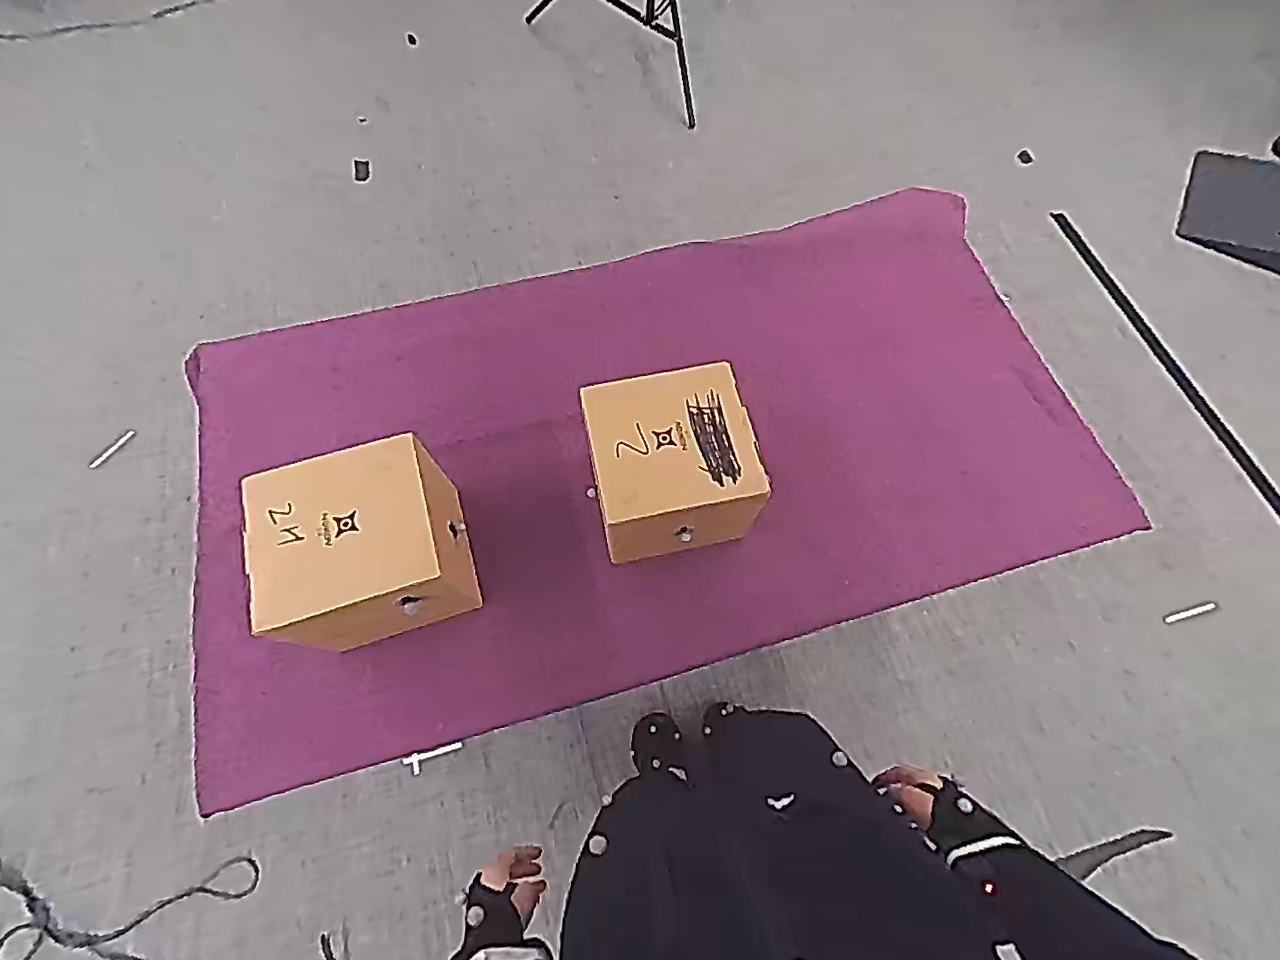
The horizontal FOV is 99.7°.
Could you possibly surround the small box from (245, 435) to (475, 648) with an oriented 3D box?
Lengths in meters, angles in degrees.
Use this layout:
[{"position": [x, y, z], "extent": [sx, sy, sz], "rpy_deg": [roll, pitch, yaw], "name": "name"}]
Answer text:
[{"position": [-0.297, 0.077, 0.607], "extent": [0.179, 0.176, 0.168], "rpy_deg": [-17, 68, -8], "name": "small box"}]
